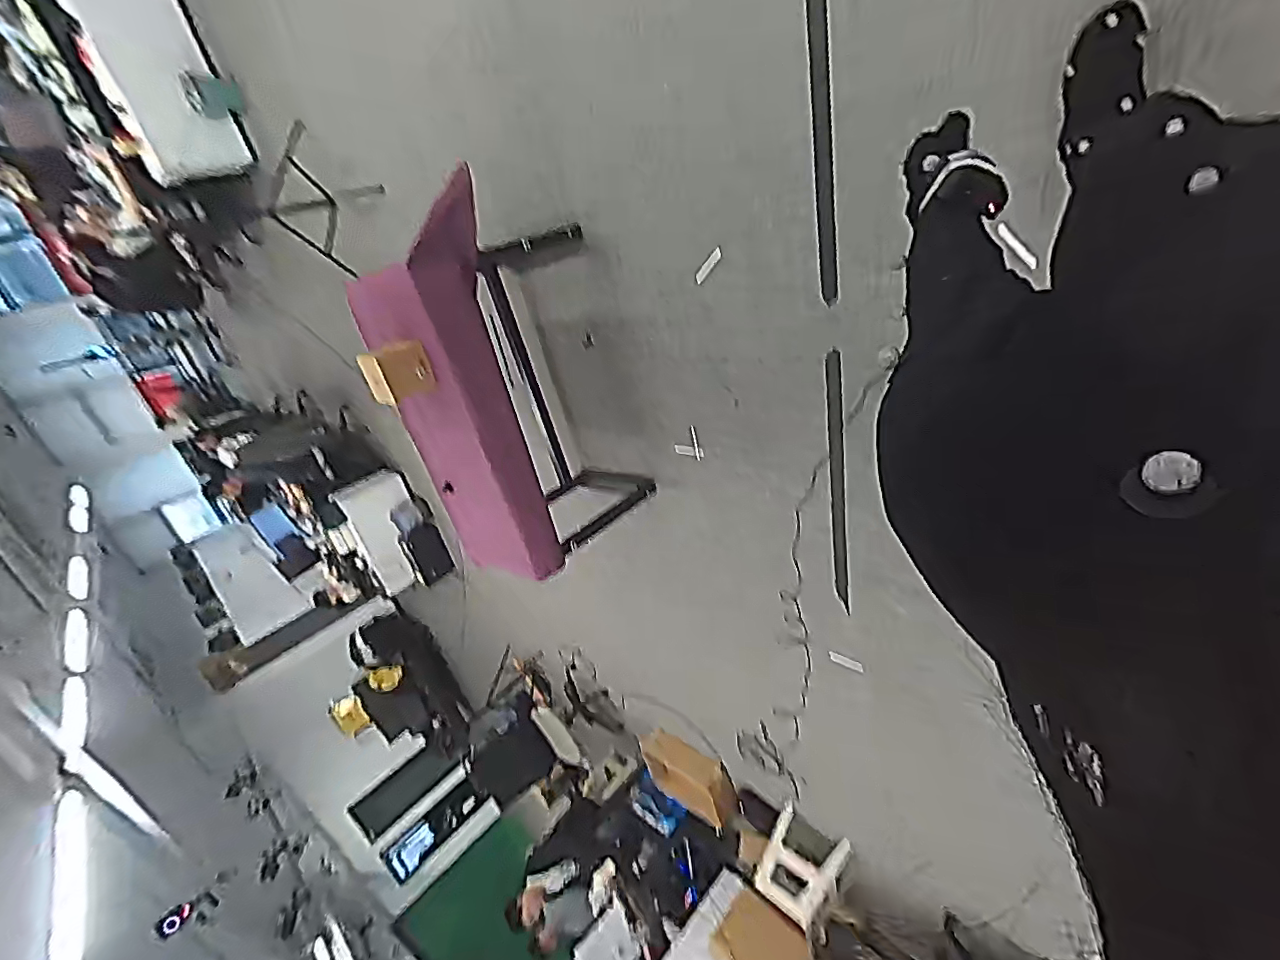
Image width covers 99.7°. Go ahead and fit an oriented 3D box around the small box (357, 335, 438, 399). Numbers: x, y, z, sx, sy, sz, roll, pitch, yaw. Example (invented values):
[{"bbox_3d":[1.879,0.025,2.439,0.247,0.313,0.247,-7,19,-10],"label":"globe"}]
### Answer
[{"bbox_3d":[-0.828,-0.392,1.857,0.179,0.176,0.168,12,128,43],"label":"small box"}]
